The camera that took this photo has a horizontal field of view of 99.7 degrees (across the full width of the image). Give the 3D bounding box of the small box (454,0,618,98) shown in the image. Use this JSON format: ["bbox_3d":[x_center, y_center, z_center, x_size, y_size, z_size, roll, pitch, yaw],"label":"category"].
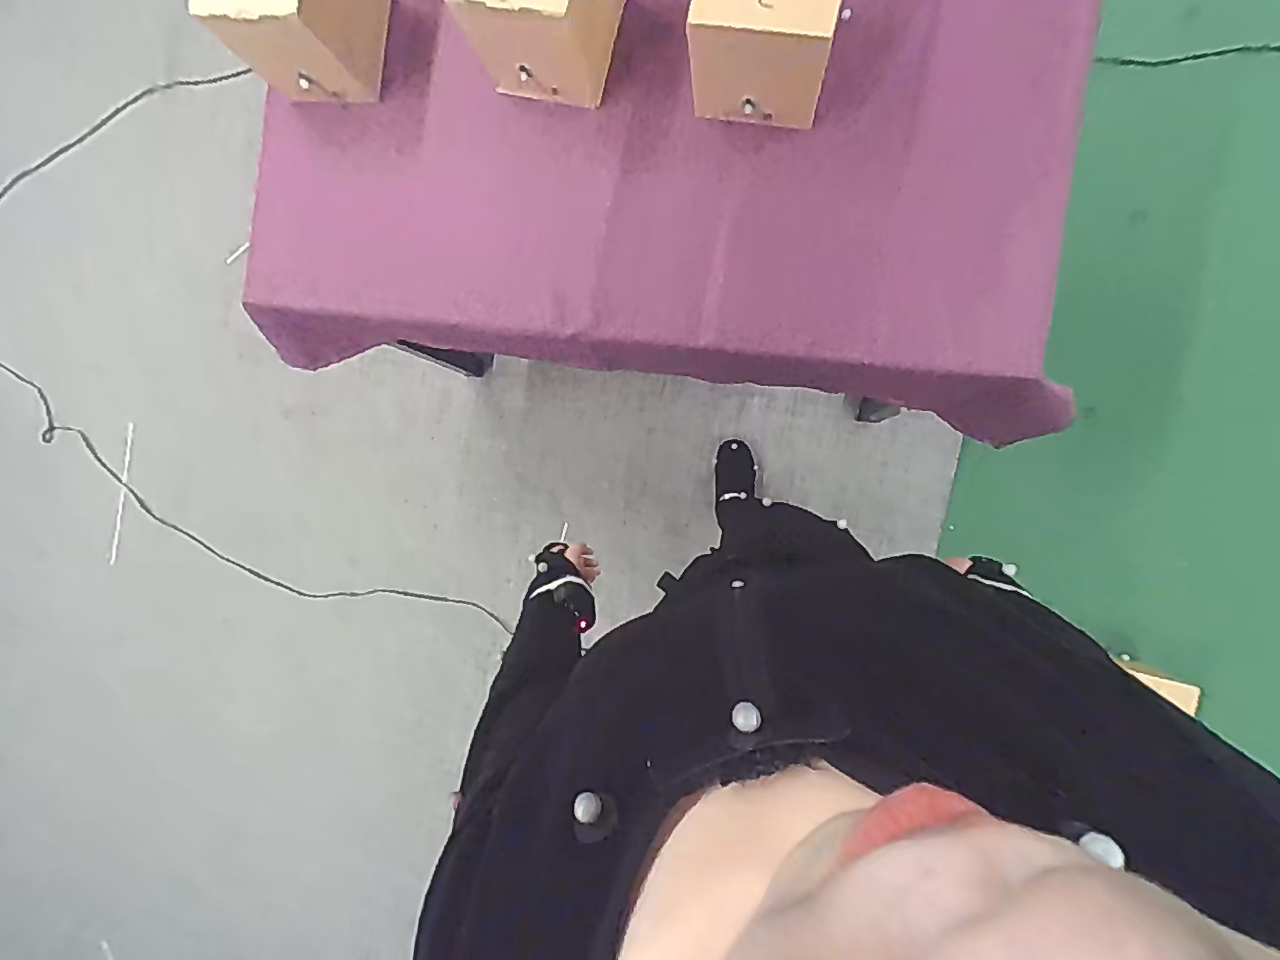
[{"bbox_3d":[-0.134,-0.663,0.721,0.168,0.176,0.179,16,94,9],"label":"small box"}]

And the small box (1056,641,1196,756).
[{"bbox_3d":[1.124,0.502,1.269,0.168,0.176,0.179,14,92,9],"label":"small box"}]

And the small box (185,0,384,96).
[{"bbox_3d":[-0.496,-0.699,0.775,0.168,0.176,0.179,9,93,9],"label":"small box"}]
